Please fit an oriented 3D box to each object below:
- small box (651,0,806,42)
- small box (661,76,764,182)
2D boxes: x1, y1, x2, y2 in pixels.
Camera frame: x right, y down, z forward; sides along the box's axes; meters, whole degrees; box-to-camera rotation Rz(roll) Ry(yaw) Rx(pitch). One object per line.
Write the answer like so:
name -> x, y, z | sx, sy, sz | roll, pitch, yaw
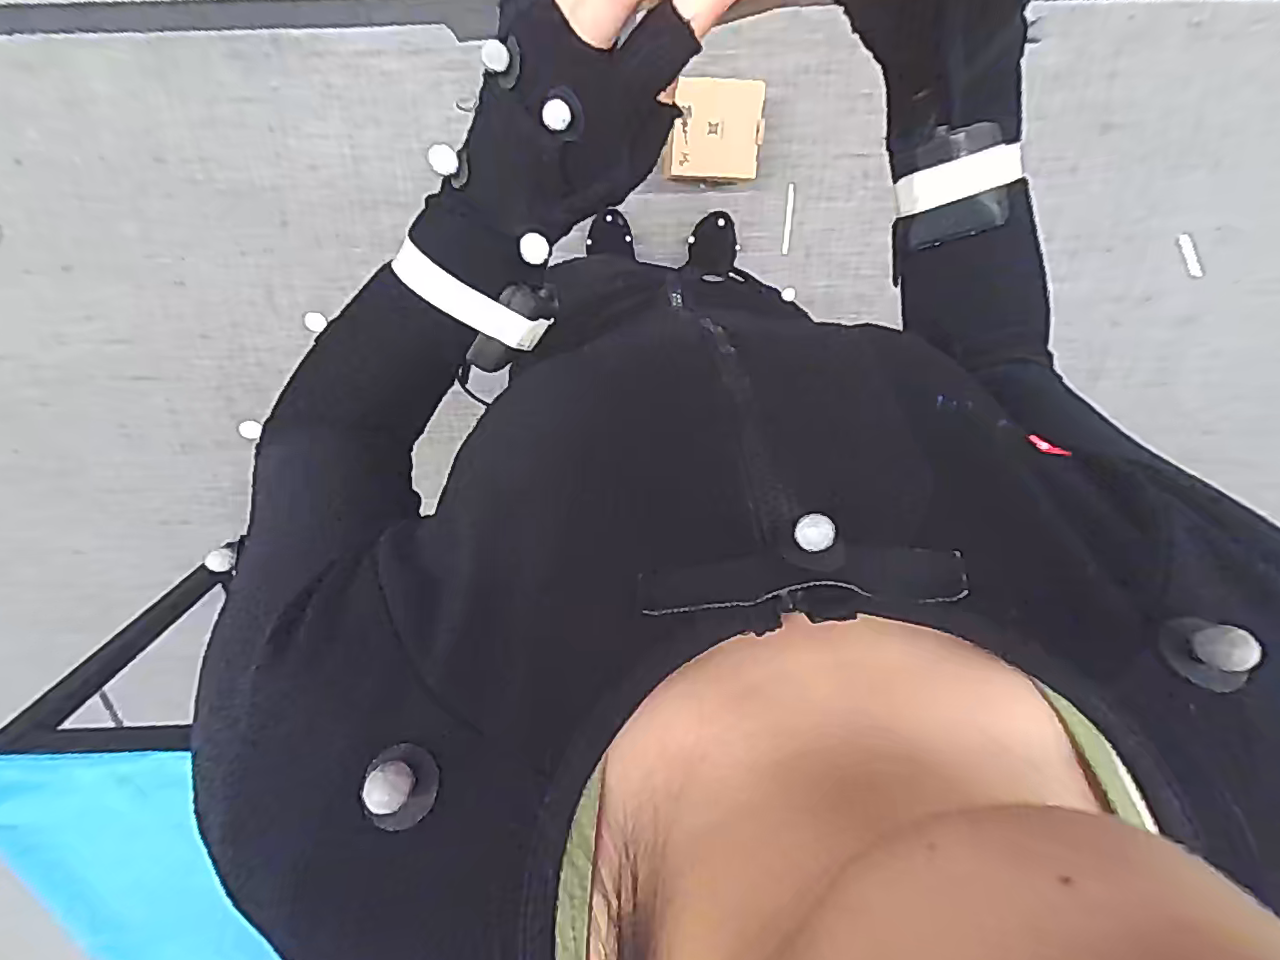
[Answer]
small box -> 0.095, -0.300, 0.196 | 0.168, 0.179, 0.176 | -33, 128, -22
small box -> 0.143, -0.729, 1.140 | 0.179, 0.176, 0.168 | 1, 116, -4
